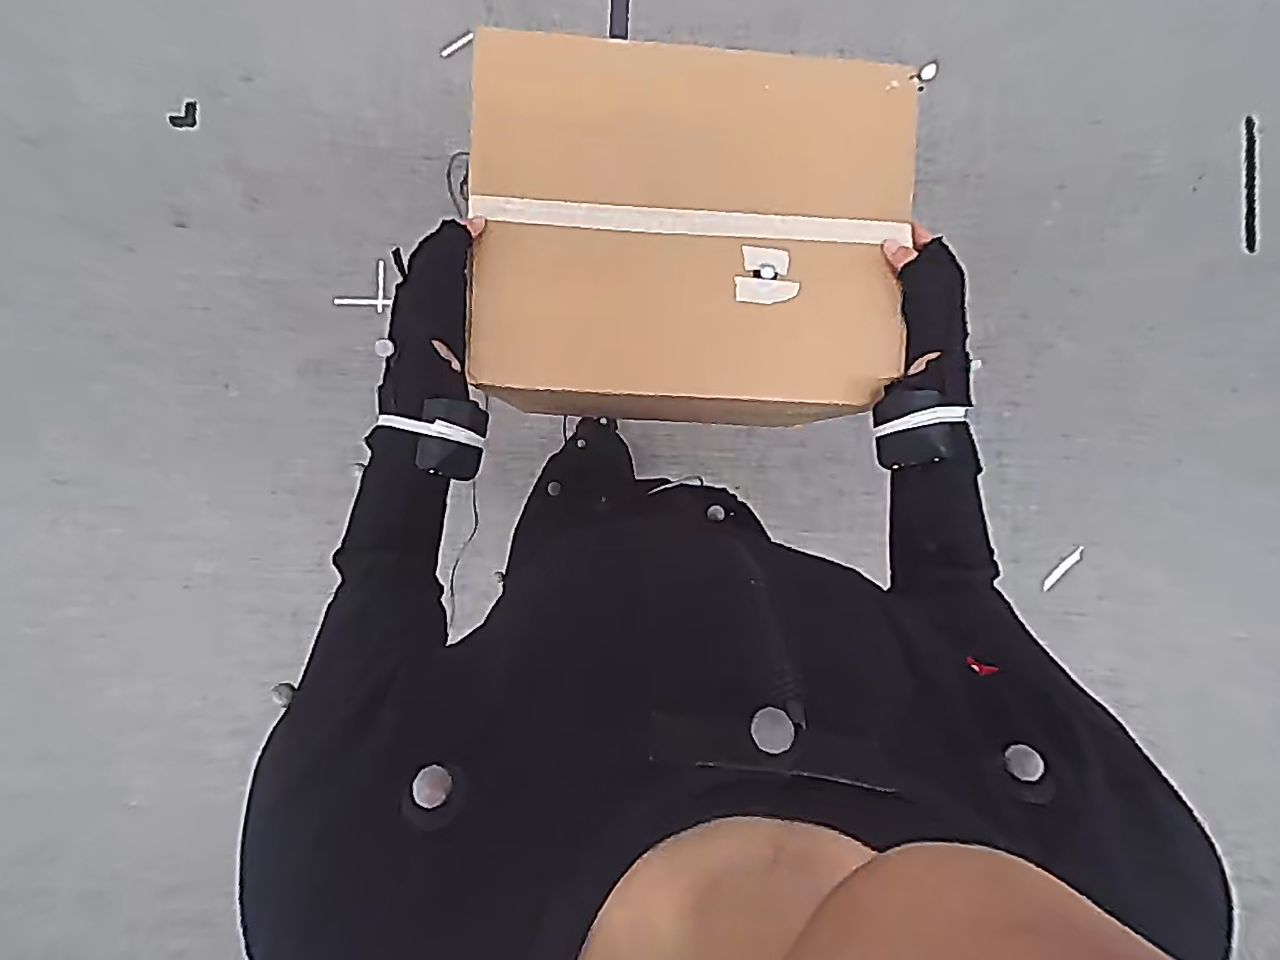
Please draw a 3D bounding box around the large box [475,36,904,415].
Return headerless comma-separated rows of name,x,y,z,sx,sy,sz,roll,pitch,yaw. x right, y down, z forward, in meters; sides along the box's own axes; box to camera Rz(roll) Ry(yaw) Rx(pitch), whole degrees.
large box,0.037,-0.250,0.655,0.408,0.320,0.320,3,94,-4
